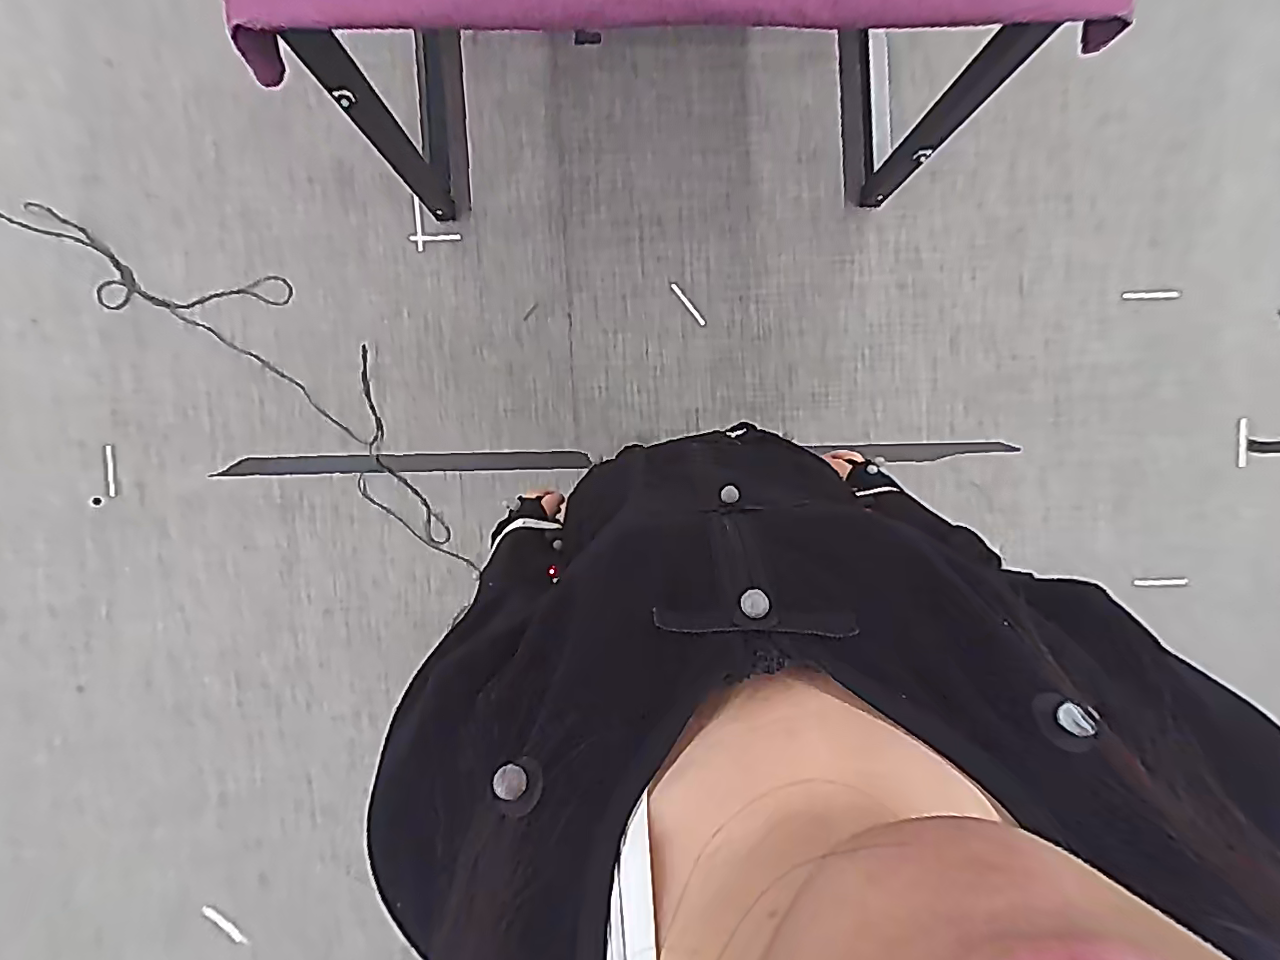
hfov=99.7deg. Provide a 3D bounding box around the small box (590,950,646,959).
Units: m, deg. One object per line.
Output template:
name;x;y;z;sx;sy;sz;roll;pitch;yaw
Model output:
small box;-0.053;1.424;1.447;0.168;0.176;0.179;-8;94;-2
